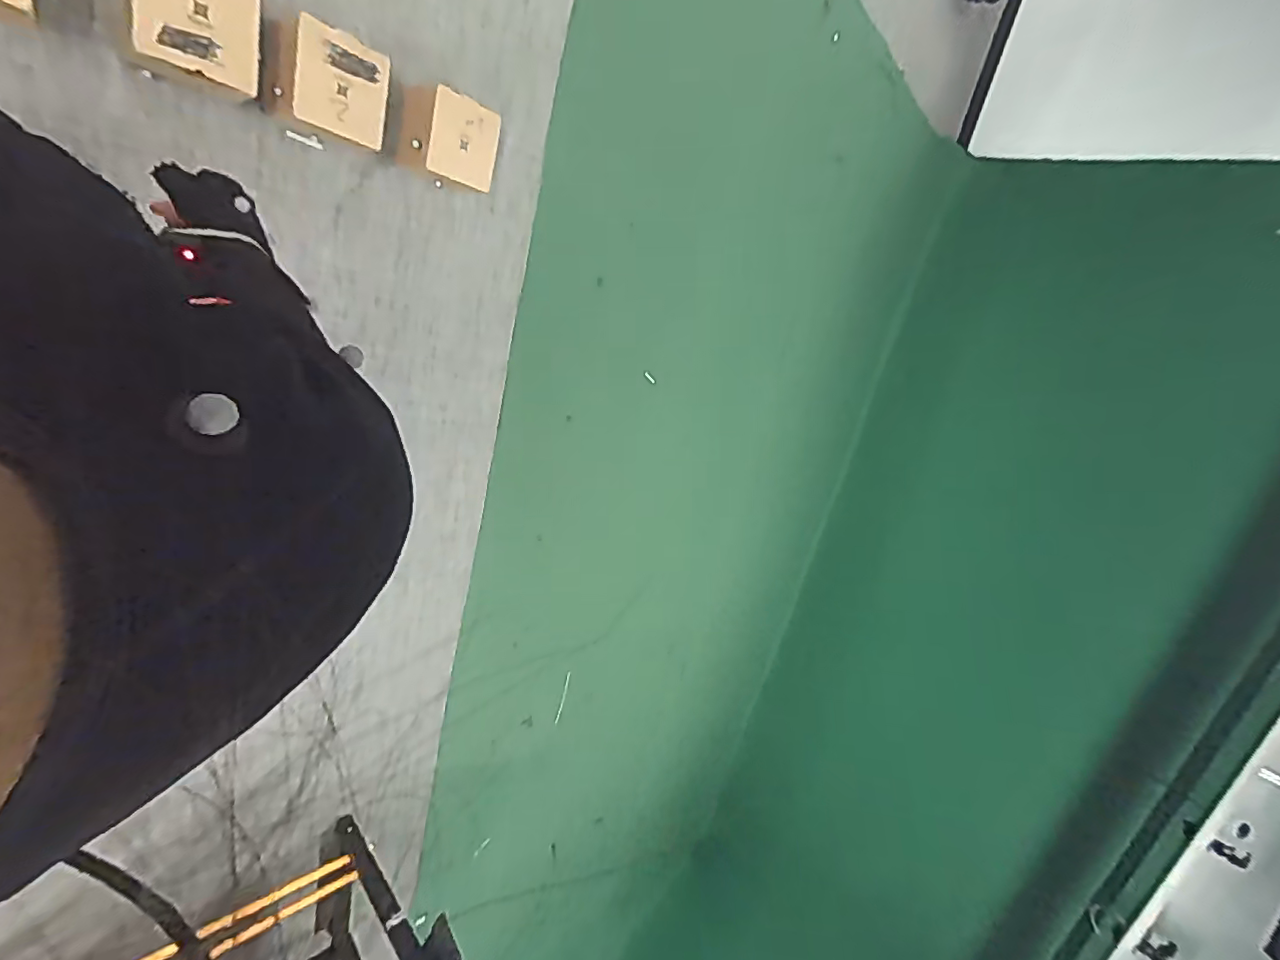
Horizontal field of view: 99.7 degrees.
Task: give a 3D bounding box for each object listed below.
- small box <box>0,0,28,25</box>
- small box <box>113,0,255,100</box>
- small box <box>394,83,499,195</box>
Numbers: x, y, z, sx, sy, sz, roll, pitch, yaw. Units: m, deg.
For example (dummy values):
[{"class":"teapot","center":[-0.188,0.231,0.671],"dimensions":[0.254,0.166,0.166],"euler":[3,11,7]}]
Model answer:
[{"class":"small box","center":[-0.962,-0.771,0.734],"dimensions":[0.168,0.176,0.179],"euler":[-4,114,-48]},{"class":"small box","center":[-0.782,-0.787,0.929],"dimensions":[0.168,0.176,0.179],"euler":[-4,113,-48]},{"class":"small box","center":[-0.466,-0.807,1.291],"dimensions":[0.168,0.176,0.179],"euler":[-3,114,-49]}]
